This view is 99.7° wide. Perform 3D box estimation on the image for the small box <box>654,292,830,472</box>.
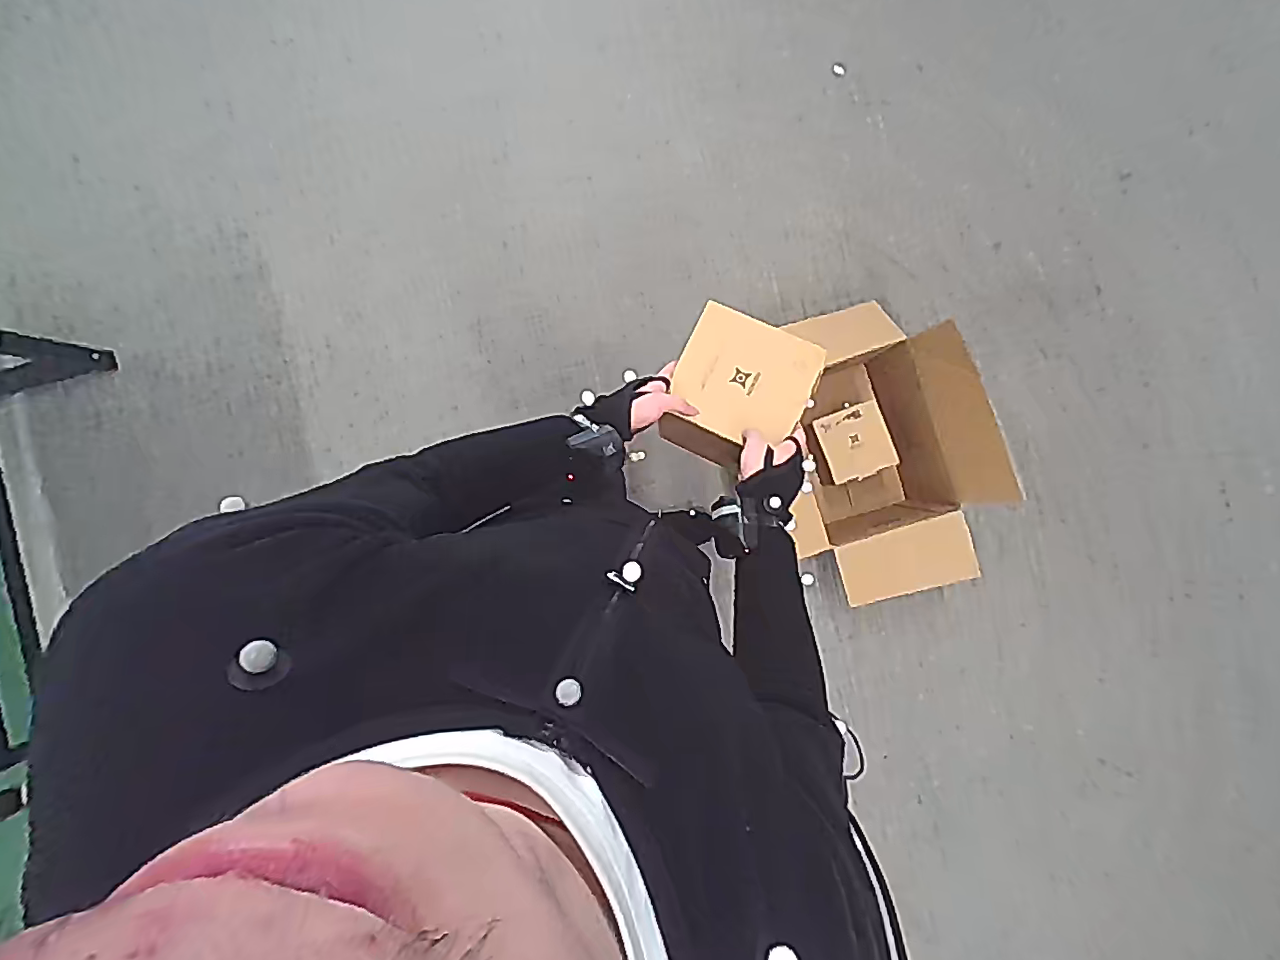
[{"bbox_3d":[0.134,-0.125,0.765,0.179,0.176,0.168,27,81,8],"label":"small box"}]
